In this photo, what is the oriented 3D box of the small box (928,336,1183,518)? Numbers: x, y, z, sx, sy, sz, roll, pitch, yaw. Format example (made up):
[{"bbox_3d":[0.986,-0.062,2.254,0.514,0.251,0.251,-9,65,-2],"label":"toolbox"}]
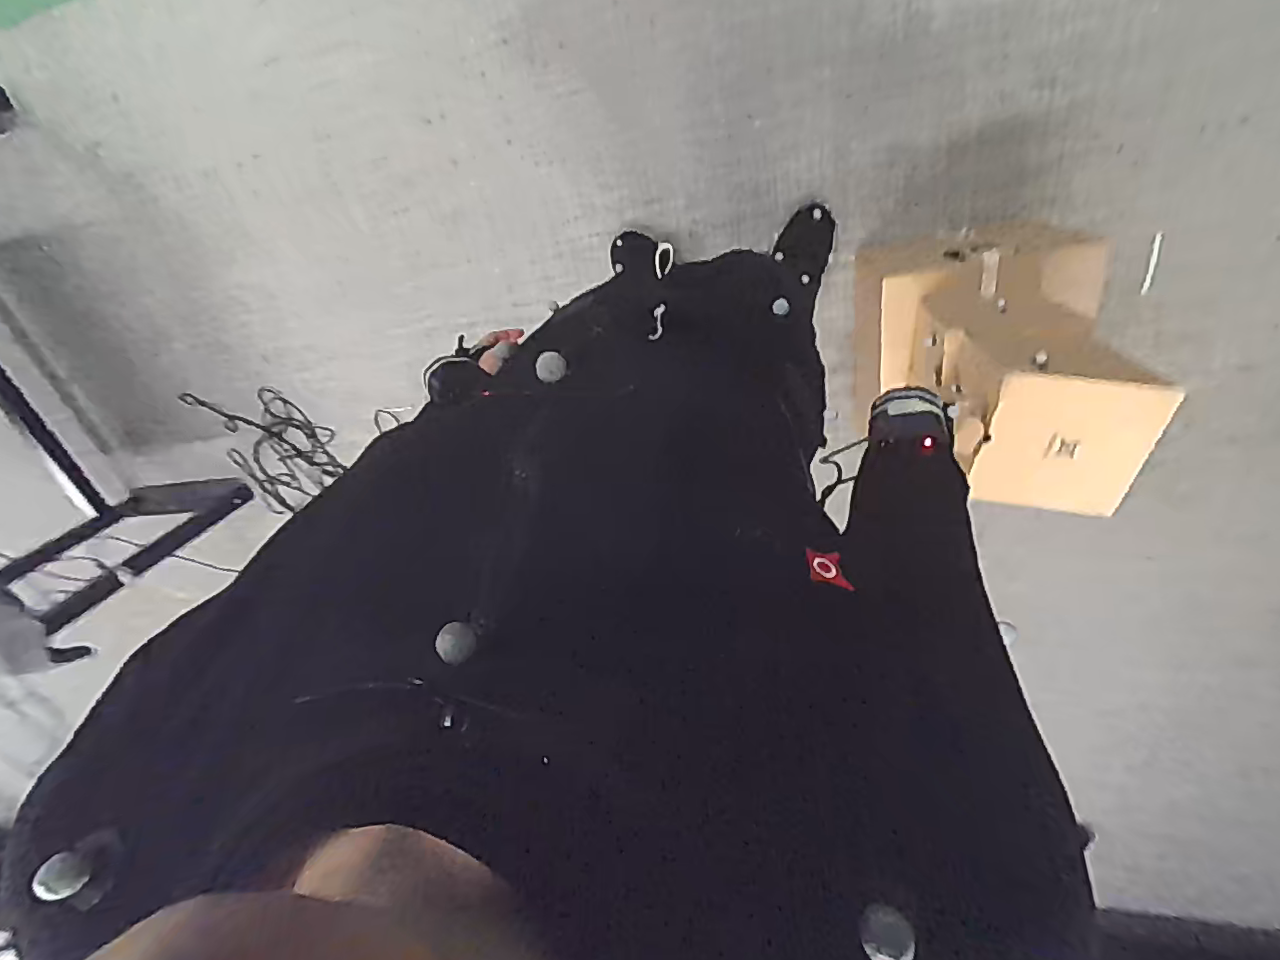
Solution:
[{"bbox_3d":[0.501,-0.075,0.689,0.179,0.176,0.168,8,122,8],"label":"small box"}]

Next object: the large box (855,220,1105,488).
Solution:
[{"bbox_3d":[0.606,-0.243,1.049,0.320,0.320,0.408,-4,121,16],"label":"large box"}]
